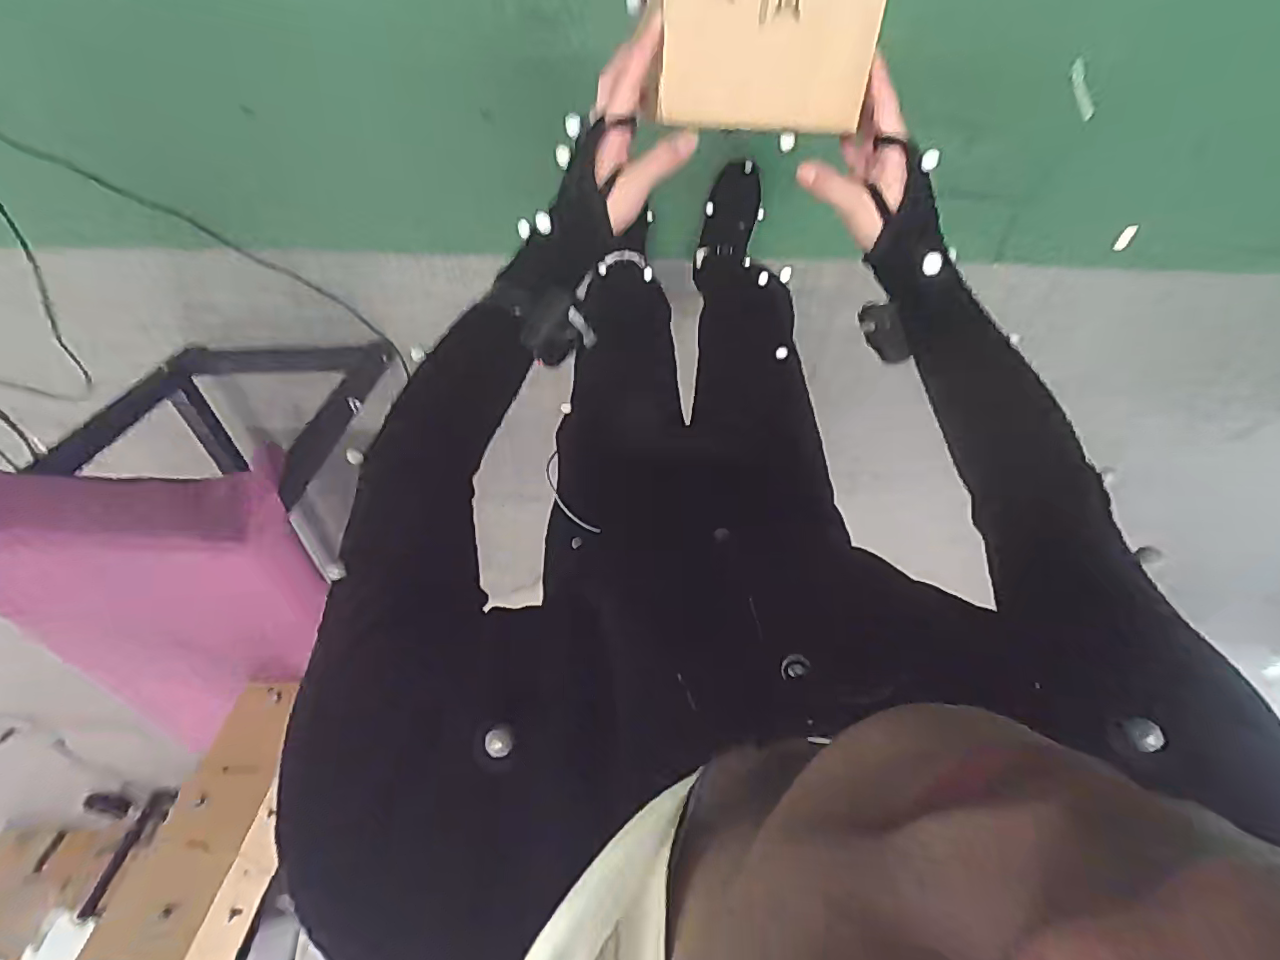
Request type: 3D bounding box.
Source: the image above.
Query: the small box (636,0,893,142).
[{"bbox_3d":[0.095,-0.397,0.464,0.179,0.176,0.168,-1,125,-6],"label":"small box"}]

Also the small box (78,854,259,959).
[{"bbox_3d":[-0.831,0.795,0.976,0.179,0.176,0.168,4,130,-2],"label":"small box"}]

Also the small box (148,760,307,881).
[{"bbox_3d":[-0.820,0.690,1.100,0.168,0.176,0.179,4,131,-1],"label":"small box"}]
